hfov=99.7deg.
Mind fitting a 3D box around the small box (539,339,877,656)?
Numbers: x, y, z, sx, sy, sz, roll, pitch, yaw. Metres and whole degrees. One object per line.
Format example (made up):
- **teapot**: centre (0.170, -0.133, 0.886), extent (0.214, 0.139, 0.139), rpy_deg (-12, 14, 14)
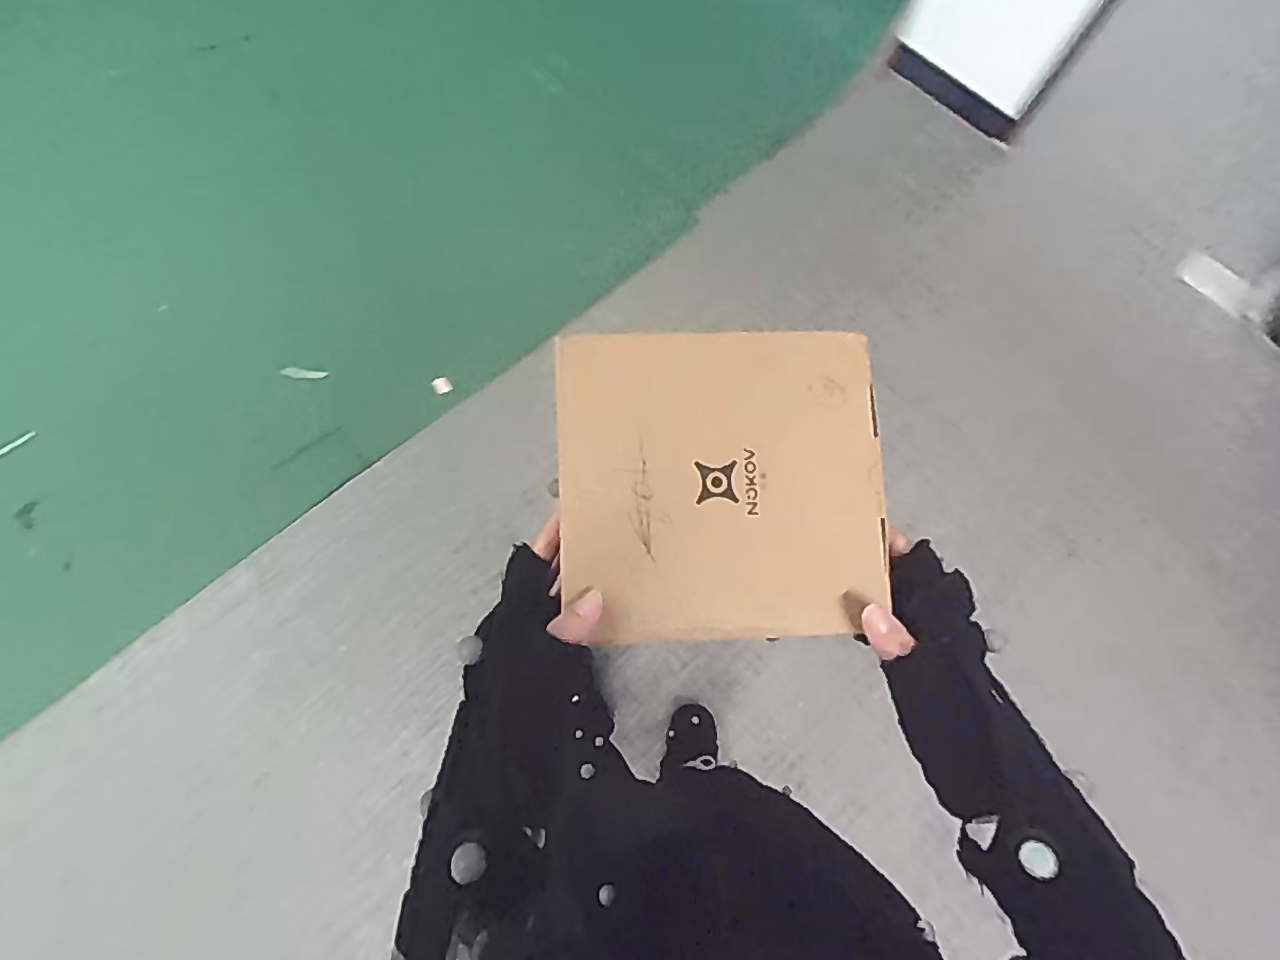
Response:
- **small box**: centre (0.032, 0.014, 0.372), extent (0.179, 0.176, 0.168), rpy_deg (-4, 83, -3)
